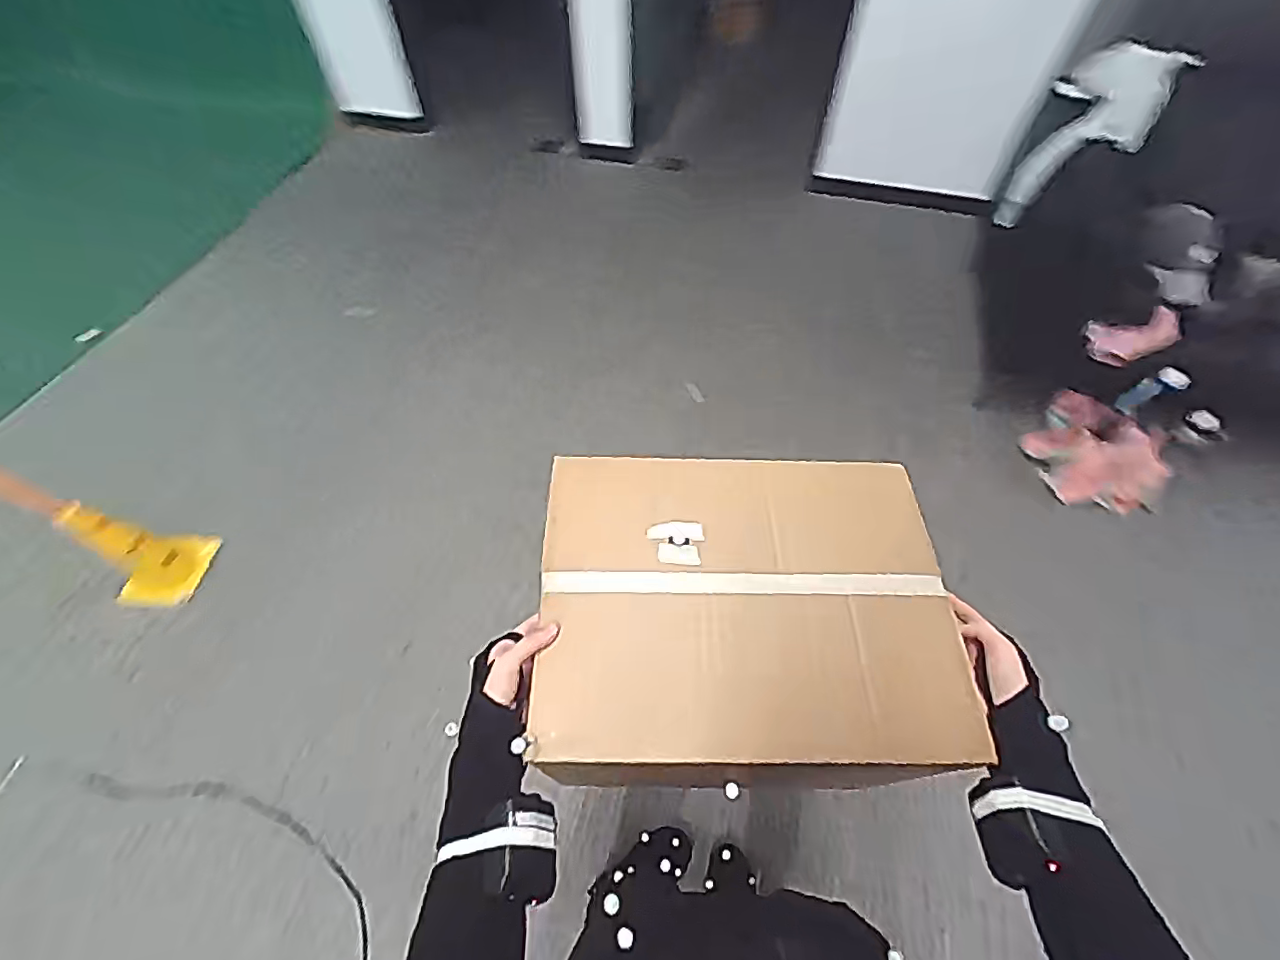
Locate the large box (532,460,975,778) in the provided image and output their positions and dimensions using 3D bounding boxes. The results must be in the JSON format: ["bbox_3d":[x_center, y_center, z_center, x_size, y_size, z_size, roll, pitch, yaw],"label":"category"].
[{"bbox_3d":[0.099,0.188,0.679,0.408,0.320,0.320,-1,57,-1],"label":"large box"}]
